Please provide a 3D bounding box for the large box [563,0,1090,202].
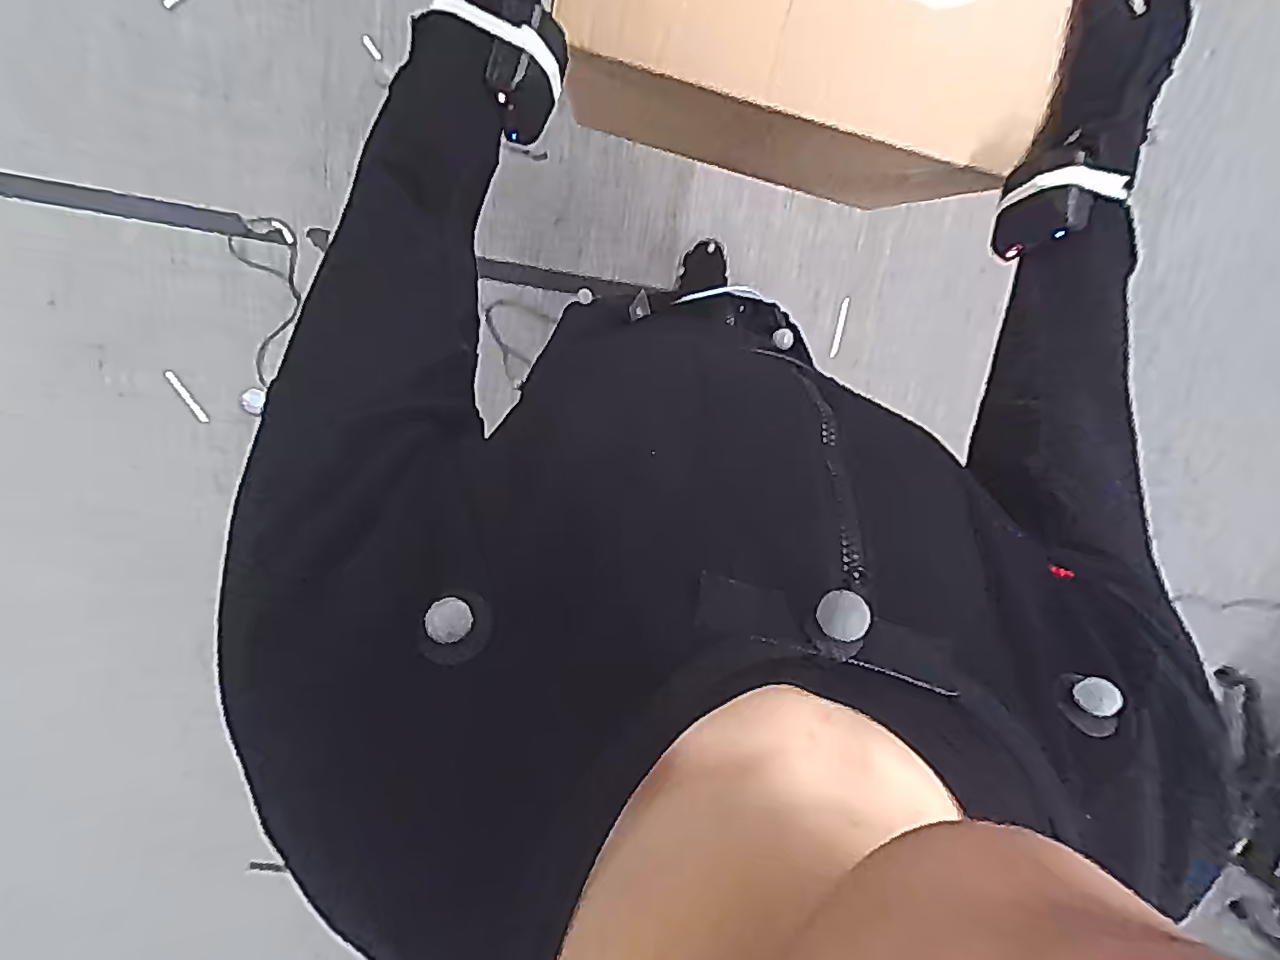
[{"bbox_3d":[0.154,-0.492,0.521,0.408,0.320,0.320,11,113,-8],"label":"large box"}]
